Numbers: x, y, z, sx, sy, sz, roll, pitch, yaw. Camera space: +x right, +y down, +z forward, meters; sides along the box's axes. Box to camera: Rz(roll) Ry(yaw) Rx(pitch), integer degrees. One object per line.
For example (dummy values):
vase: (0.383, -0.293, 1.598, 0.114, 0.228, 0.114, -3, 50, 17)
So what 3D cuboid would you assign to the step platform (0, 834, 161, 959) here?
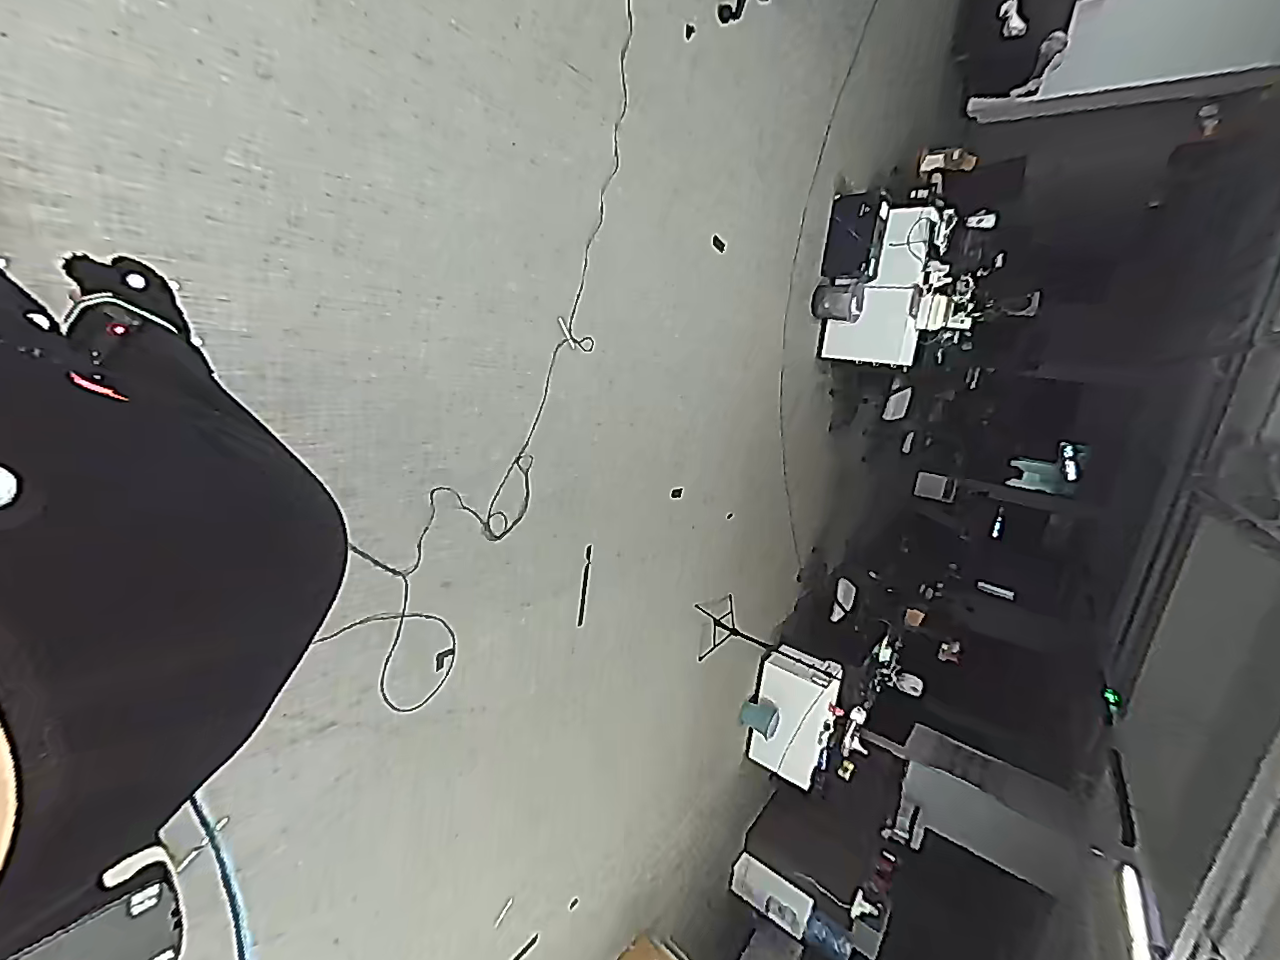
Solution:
step platform: (-1.361, 1.030, 1.020, 0.684, 0.204, 0.286, -14, 114, -50)
